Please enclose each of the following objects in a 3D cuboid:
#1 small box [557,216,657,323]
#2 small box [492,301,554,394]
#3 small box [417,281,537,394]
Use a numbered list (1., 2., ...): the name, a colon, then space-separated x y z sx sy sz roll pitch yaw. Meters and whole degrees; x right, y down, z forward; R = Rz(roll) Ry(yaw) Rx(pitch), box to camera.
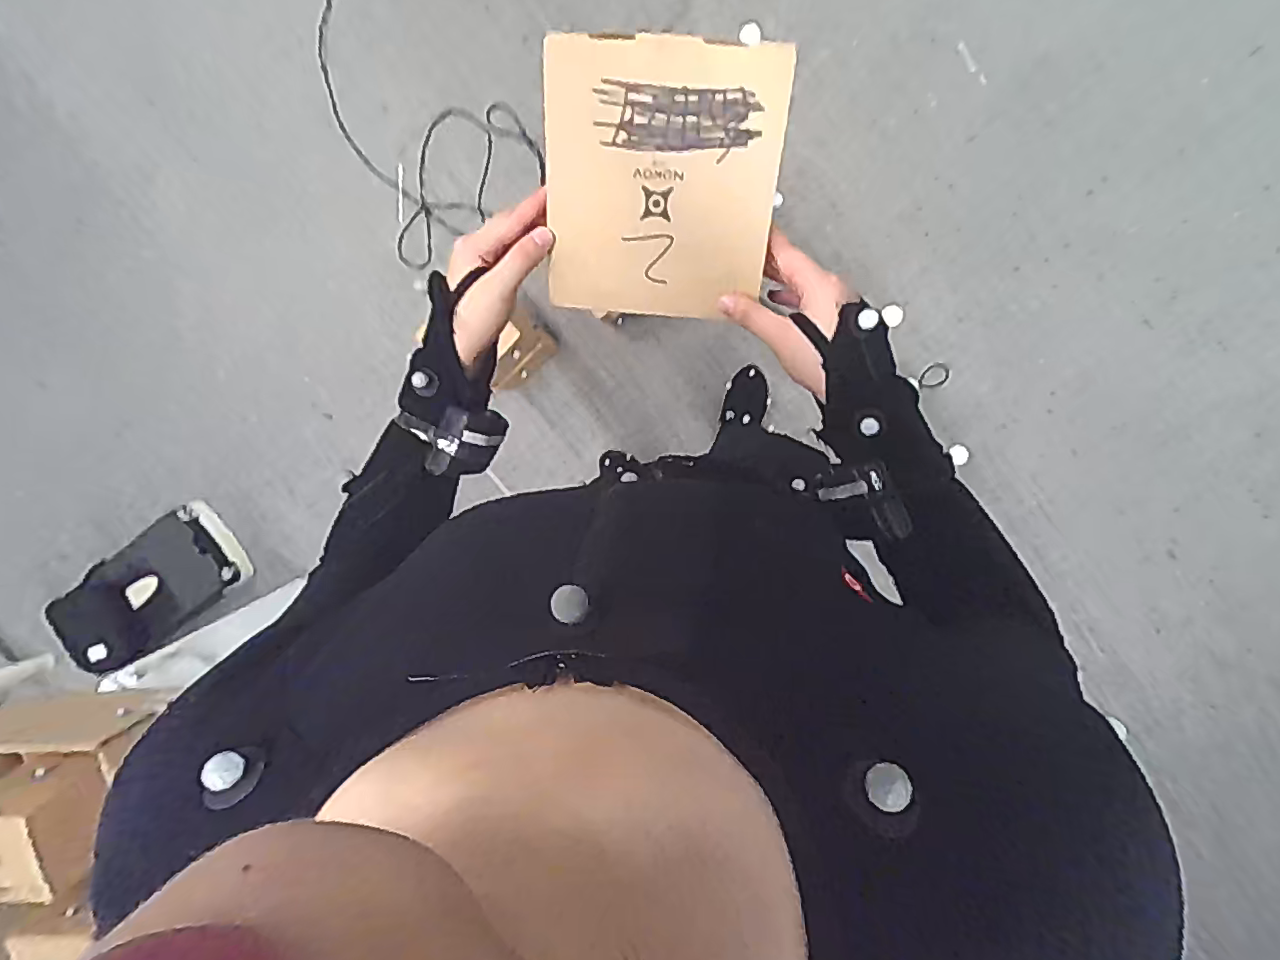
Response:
1. small box: -0.071 -0.500 1.317 0.168 0.176 0.179 -33 96 12
2. small box: -0.339 -0.342 1.382 0.179 0.176 0.168 -42 95 13
3. small box: -0.354 -0.317 1.220 0.179 0.176 0.168 -43 94 14
